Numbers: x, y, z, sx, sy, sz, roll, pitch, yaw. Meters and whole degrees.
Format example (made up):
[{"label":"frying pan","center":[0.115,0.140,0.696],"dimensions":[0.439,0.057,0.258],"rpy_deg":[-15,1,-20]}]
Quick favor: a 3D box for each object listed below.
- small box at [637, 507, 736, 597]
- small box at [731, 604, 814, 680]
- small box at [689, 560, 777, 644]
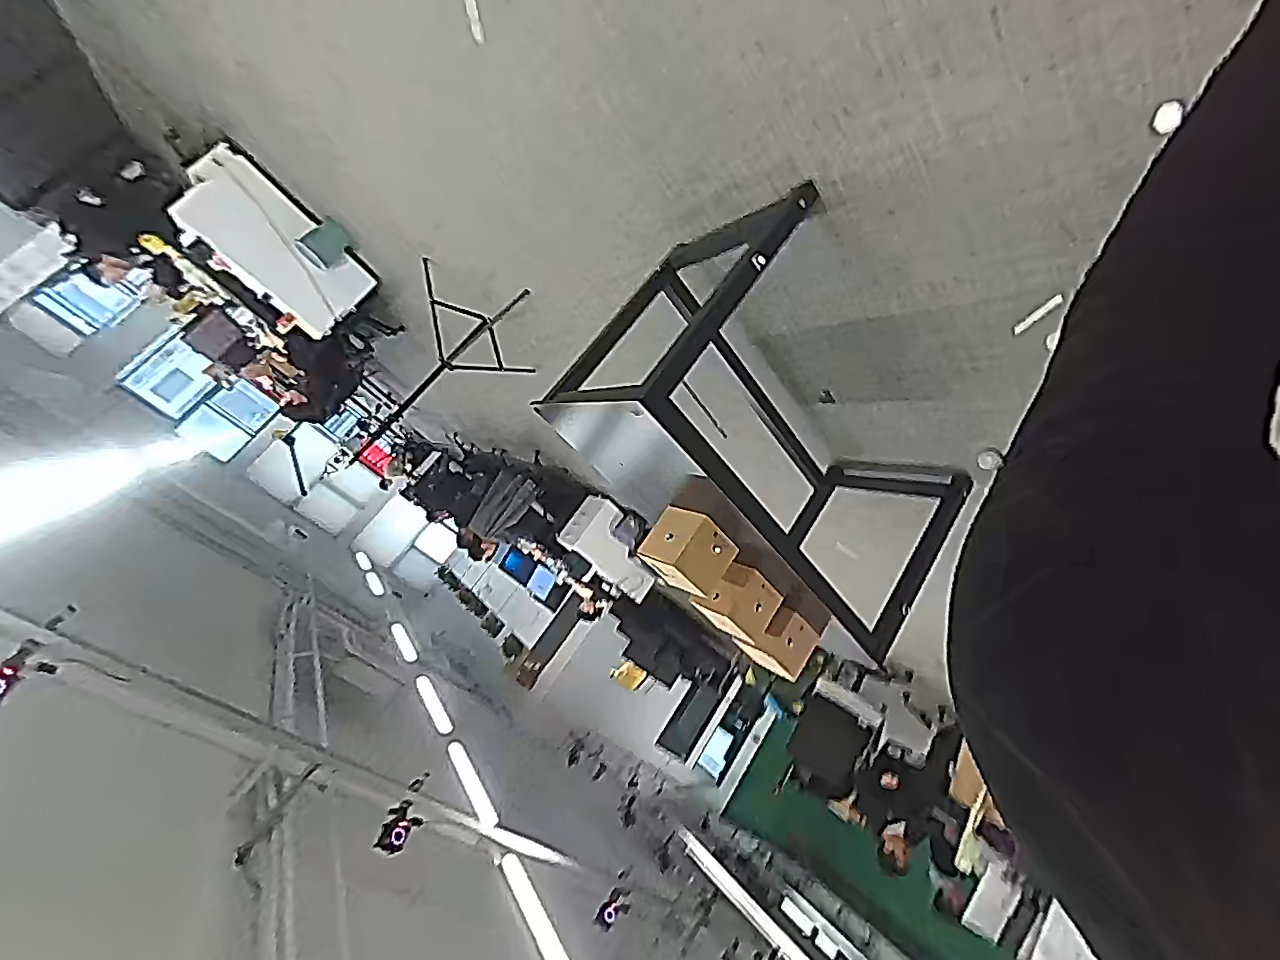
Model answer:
[{"label":"small box","center":[0.132,0.193,1.505],"dimensions":[0.168,0.176,0.179],"rpy_deg":[46,161,-28]},{"label":"small box","center":[0.438,0.509,1.752],"dimensions":[0.168,0.176,0.179],"rpy_deg":[46,162,-27]},{"label":"small box","center":[0.289,0.359,1.638],"dimensions":[0.168,0.176,0.179],"rpy_deg":[46,162,-28]}]
